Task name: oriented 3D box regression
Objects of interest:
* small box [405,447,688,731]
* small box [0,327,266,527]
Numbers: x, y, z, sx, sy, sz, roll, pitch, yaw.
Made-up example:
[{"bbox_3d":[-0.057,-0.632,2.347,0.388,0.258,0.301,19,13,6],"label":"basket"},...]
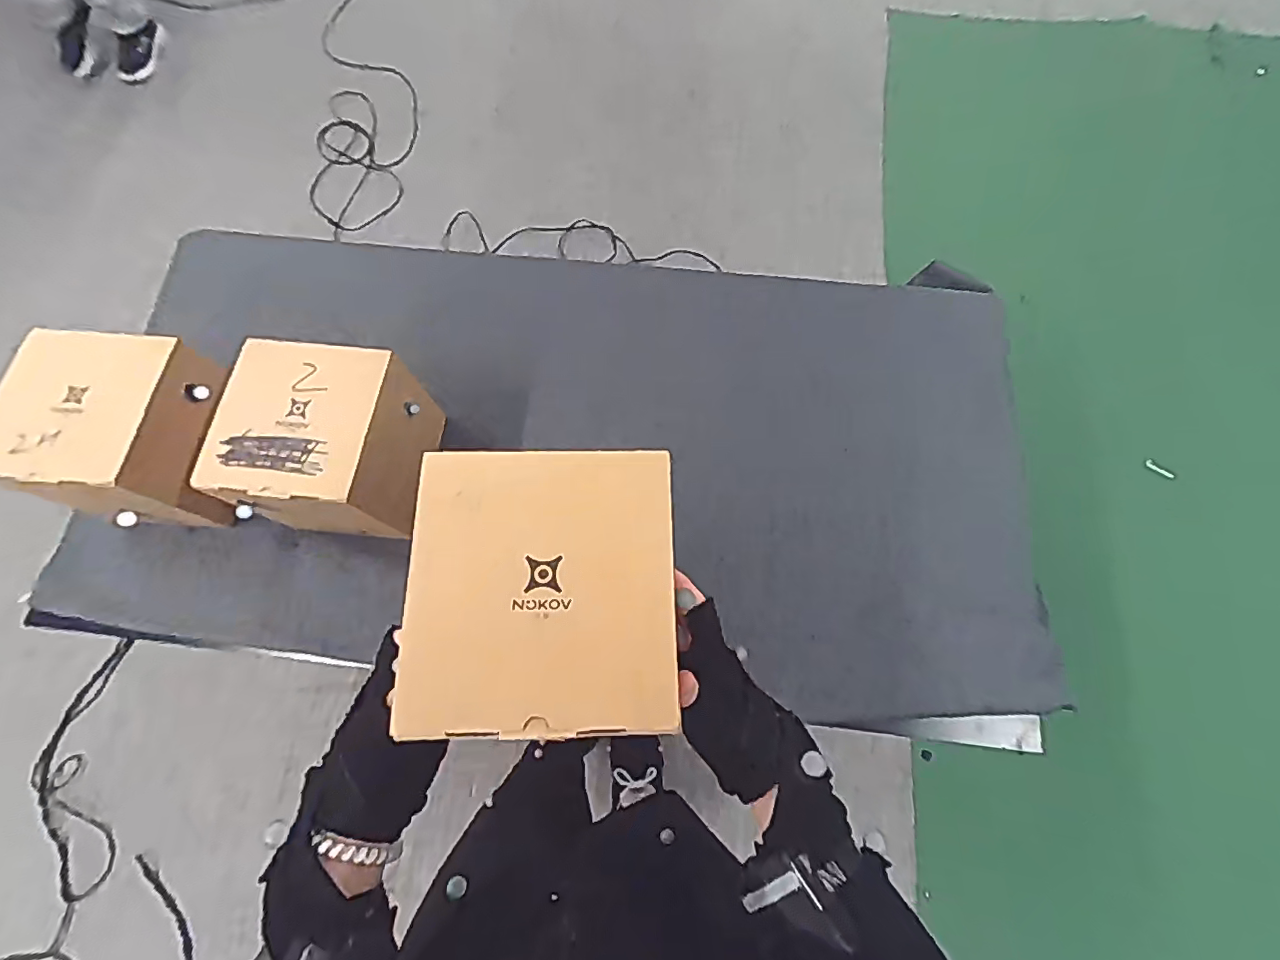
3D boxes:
[{"bbox_3d":[-0.058,0.086,0.412,0.168,0.176,0.179,0,72,-3],"label":"small box"},{"bbox_3d":[-0.589,-0.054,0.640,0.168,0.176,0.179,4,71,1],"label":"small box"}]
